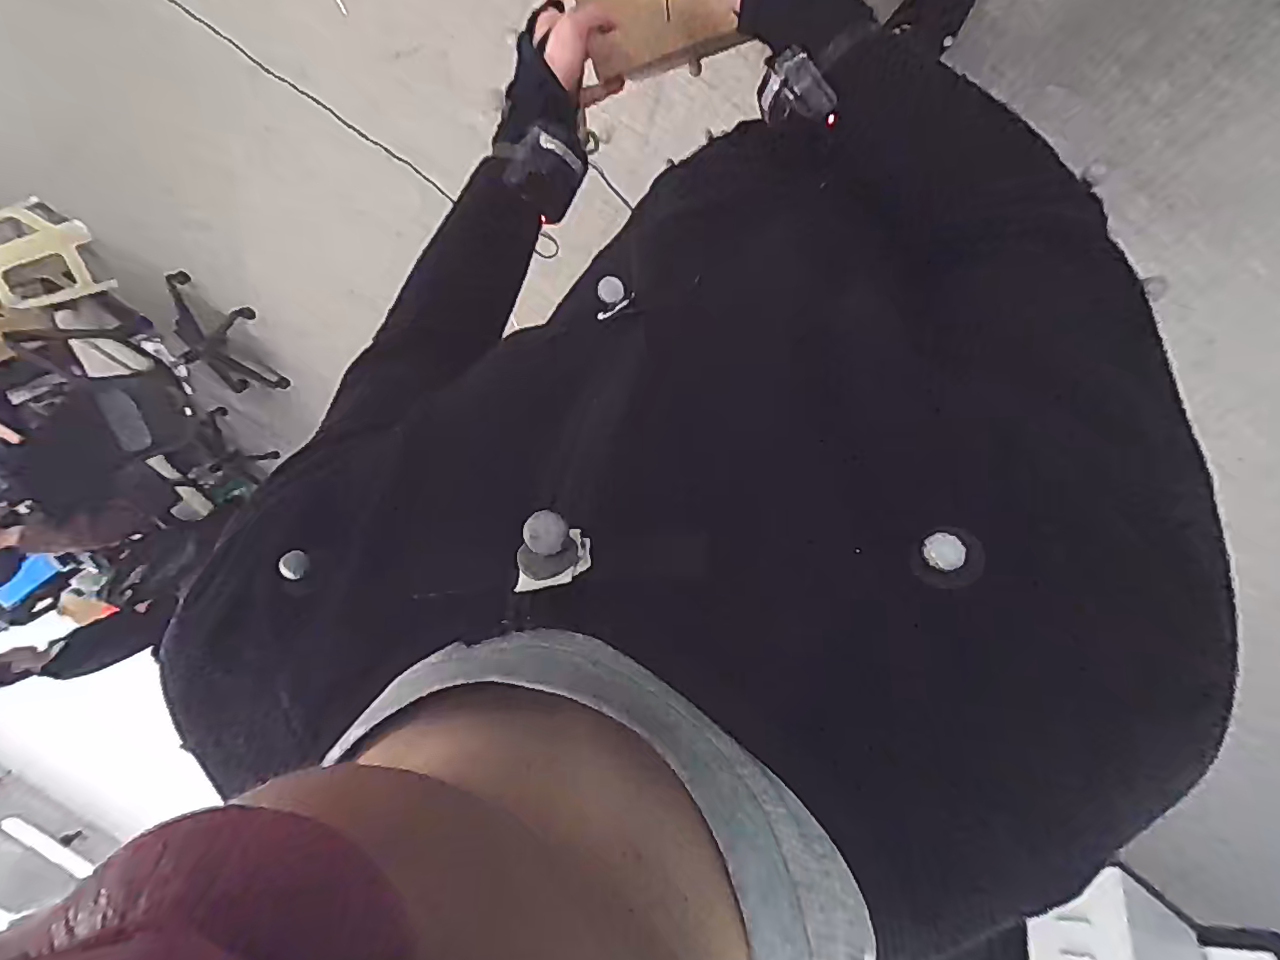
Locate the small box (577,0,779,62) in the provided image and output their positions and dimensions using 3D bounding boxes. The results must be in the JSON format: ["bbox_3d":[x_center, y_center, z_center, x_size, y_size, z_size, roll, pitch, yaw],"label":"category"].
[{"bbox_3d":[0.030,-0.506,0.487,0.168,0.176,0.179,-4,125,21],"label":"small box"}]
